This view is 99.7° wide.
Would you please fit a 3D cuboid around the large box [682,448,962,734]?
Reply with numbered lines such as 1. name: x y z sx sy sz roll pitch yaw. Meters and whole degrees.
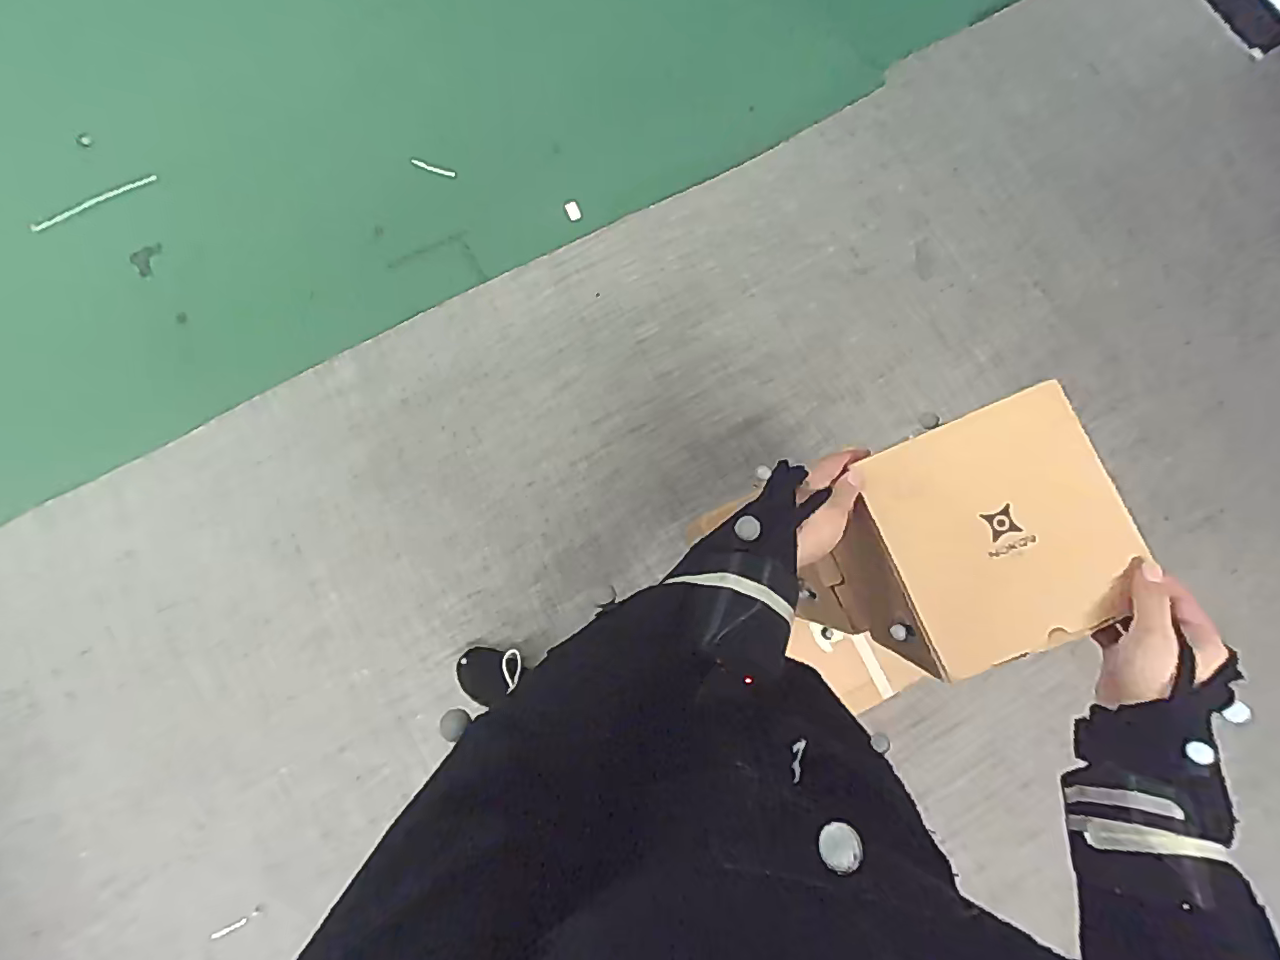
1. large box: 0.318 0.201 1.070 0.320 0.320 0.408 -25 83 -4

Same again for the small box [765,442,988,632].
1. small box: 0.274 0.072 0.678 0.179 0.176 0.168 -22 84 -6
